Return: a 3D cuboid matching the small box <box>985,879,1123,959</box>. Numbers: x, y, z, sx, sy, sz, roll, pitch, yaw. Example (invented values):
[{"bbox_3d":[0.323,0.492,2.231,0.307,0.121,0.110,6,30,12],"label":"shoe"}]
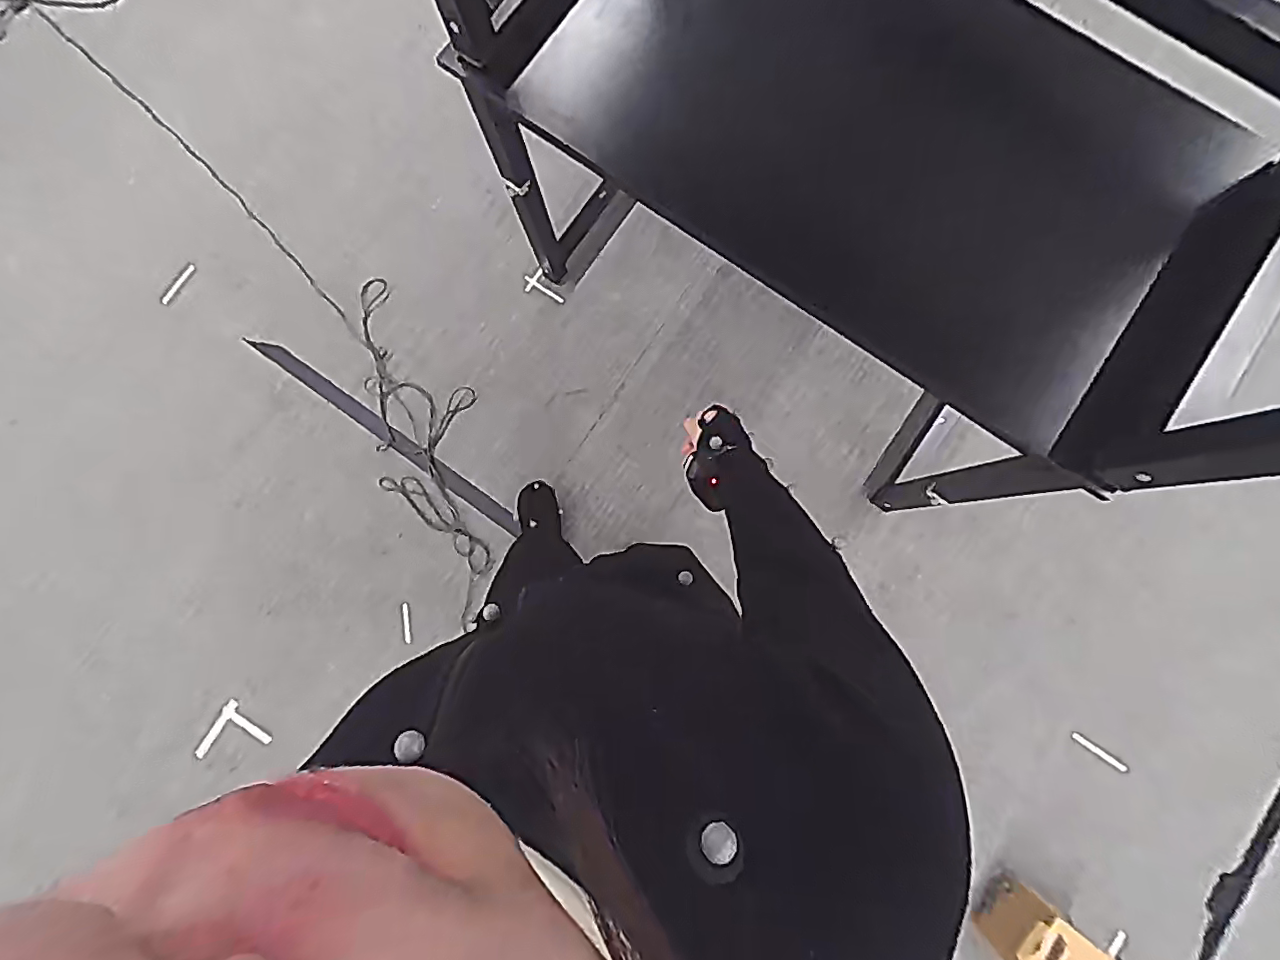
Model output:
[{"bbox_3d":[0.976,1.104,1.284,0.179,0.176,0.168,36,87,4],"label":"small box"}]
